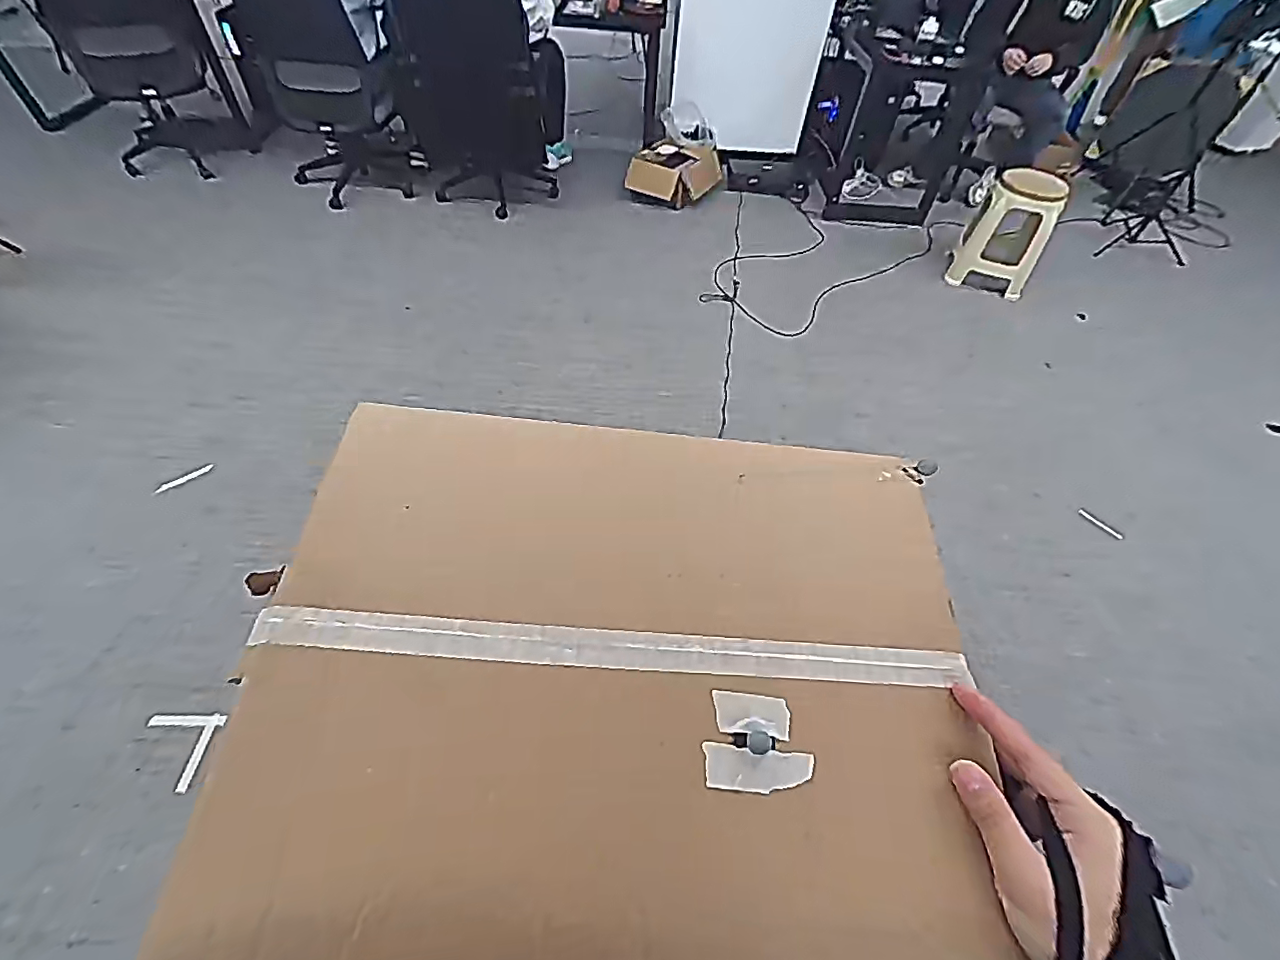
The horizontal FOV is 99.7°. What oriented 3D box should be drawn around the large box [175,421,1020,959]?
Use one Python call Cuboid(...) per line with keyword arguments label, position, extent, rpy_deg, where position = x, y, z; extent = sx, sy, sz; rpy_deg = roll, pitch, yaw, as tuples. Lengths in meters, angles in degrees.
Cuboid(label="large box", position=(-0.021, 0.180, 0.451), extent=(0.408, 0.320, 0.320), rpy_deg=(6, 59, -5))
